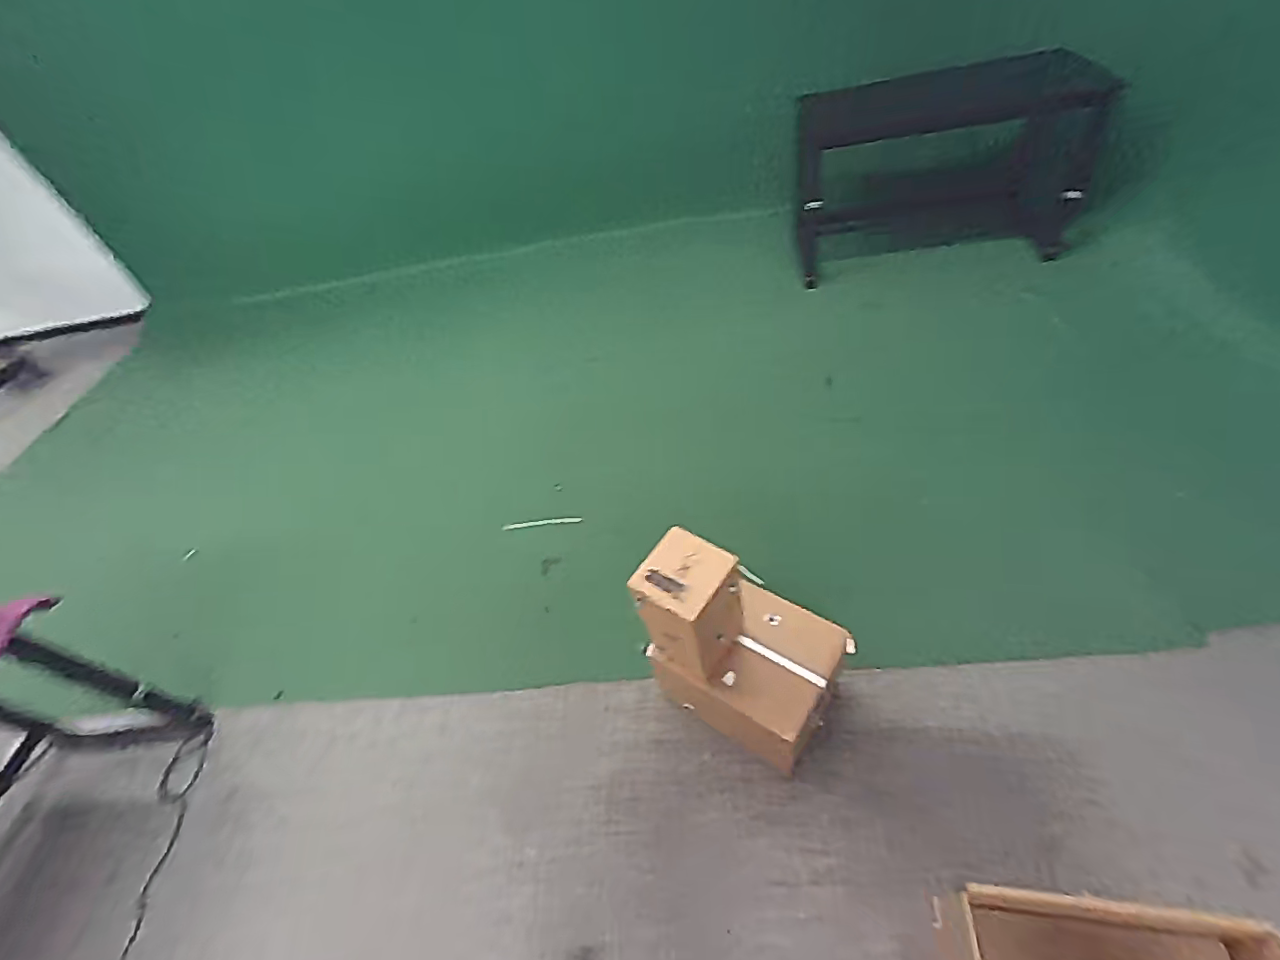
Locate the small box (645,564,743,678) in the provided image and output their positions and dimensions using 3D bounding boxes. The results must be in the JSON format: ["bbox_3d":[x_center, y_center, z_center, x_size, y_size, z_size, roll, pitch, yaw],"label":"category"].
[{"bbox_3d":[0.139,0.344,1.305,0.168,0.176,0.179,28,60,31],"label":"small box"}]
